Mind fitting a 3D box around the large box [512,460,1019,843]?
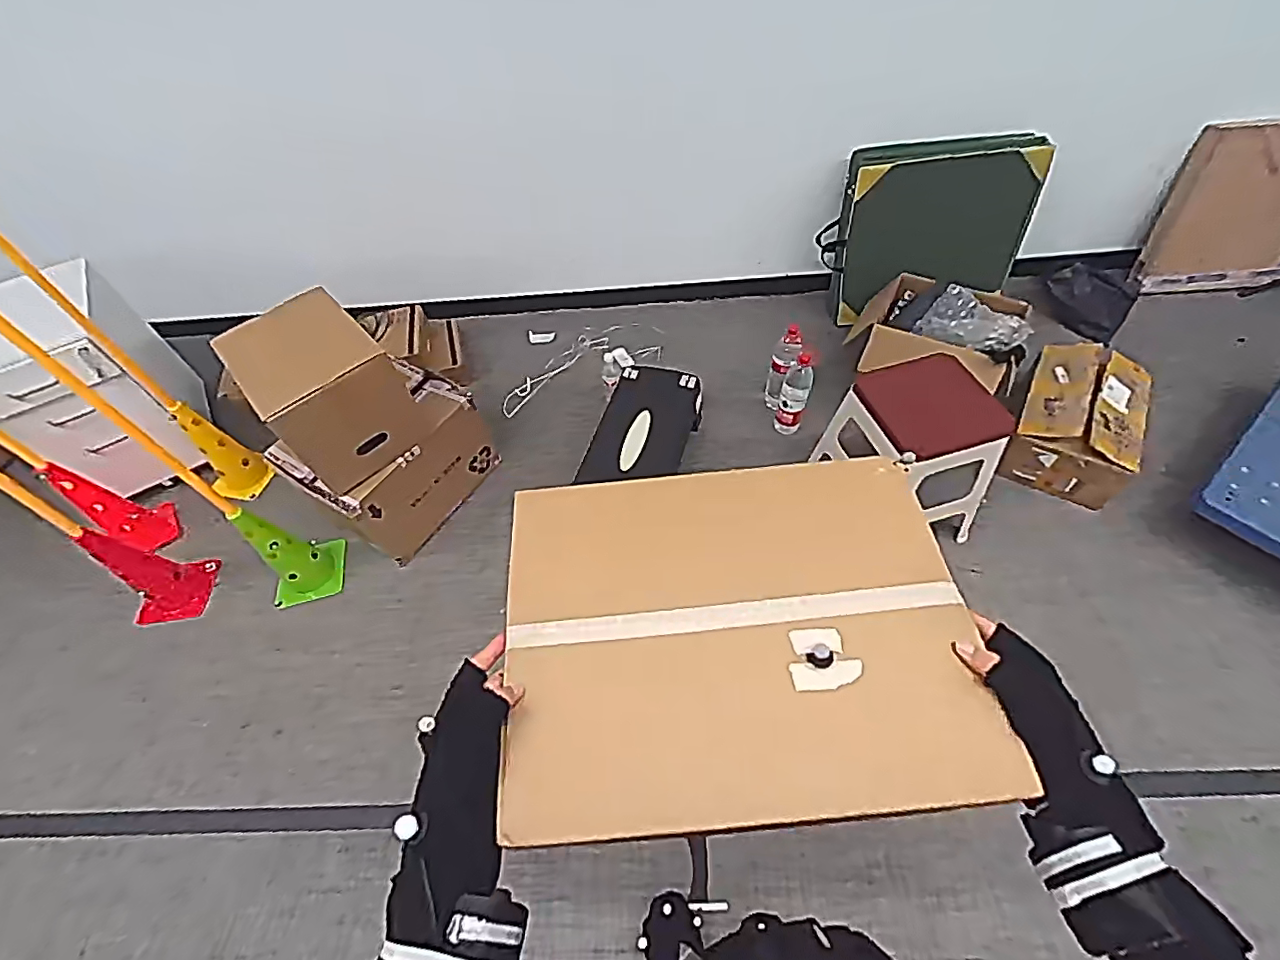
[{"bbox_3d":[0.091,0.209,0.619,0.408,0.320,0.320,-6,56,0],"label":"large box"}]
